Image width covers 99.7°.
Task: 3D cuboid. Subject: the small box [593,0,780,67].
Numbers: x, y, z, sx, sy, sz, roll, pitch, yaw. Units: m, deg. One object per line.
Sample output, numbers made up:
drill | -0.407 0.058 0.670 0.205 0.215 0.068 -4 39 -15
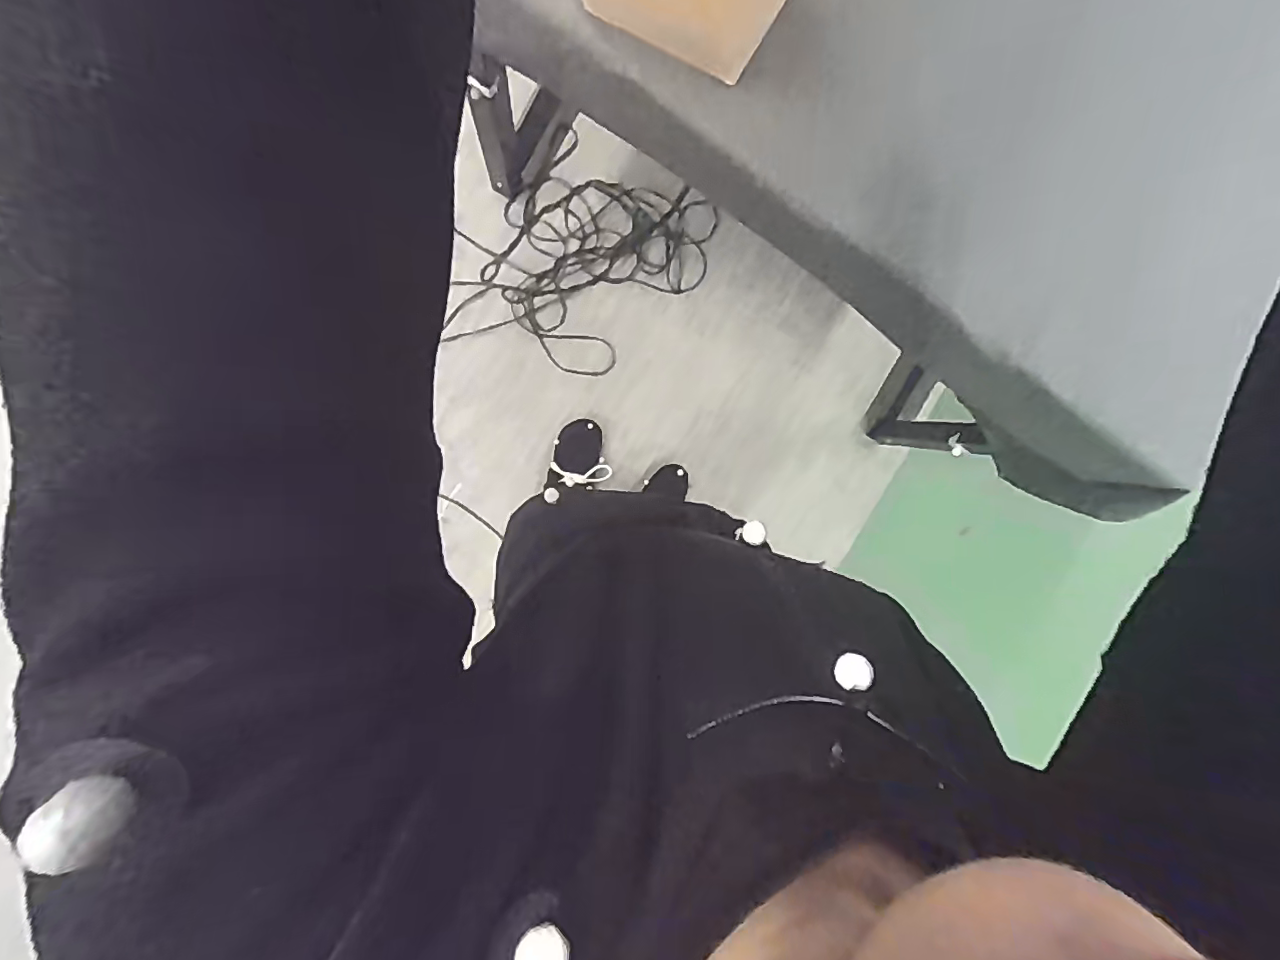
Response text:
small box | 0.065 -0.522 0.482 0.179 0.176 0.168 19 93 -12
